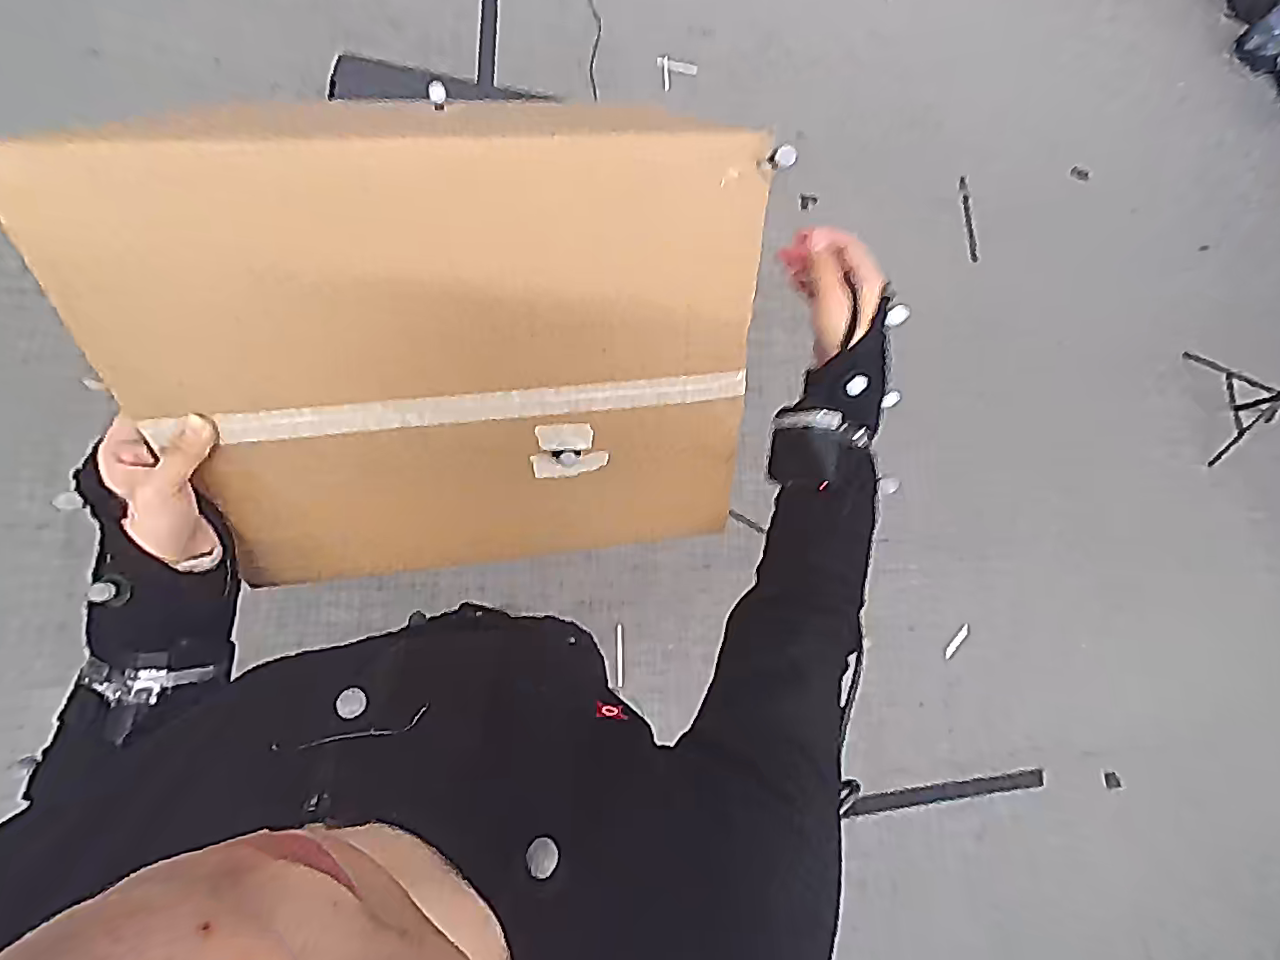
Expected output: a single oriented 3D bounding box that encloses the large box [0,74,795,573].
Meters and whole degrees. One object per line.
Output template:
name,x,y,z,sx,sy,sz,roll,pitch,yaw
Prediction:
large box,-0.136,-0.160,0.475,0.408,0.320,0.320,-7,39,-8
